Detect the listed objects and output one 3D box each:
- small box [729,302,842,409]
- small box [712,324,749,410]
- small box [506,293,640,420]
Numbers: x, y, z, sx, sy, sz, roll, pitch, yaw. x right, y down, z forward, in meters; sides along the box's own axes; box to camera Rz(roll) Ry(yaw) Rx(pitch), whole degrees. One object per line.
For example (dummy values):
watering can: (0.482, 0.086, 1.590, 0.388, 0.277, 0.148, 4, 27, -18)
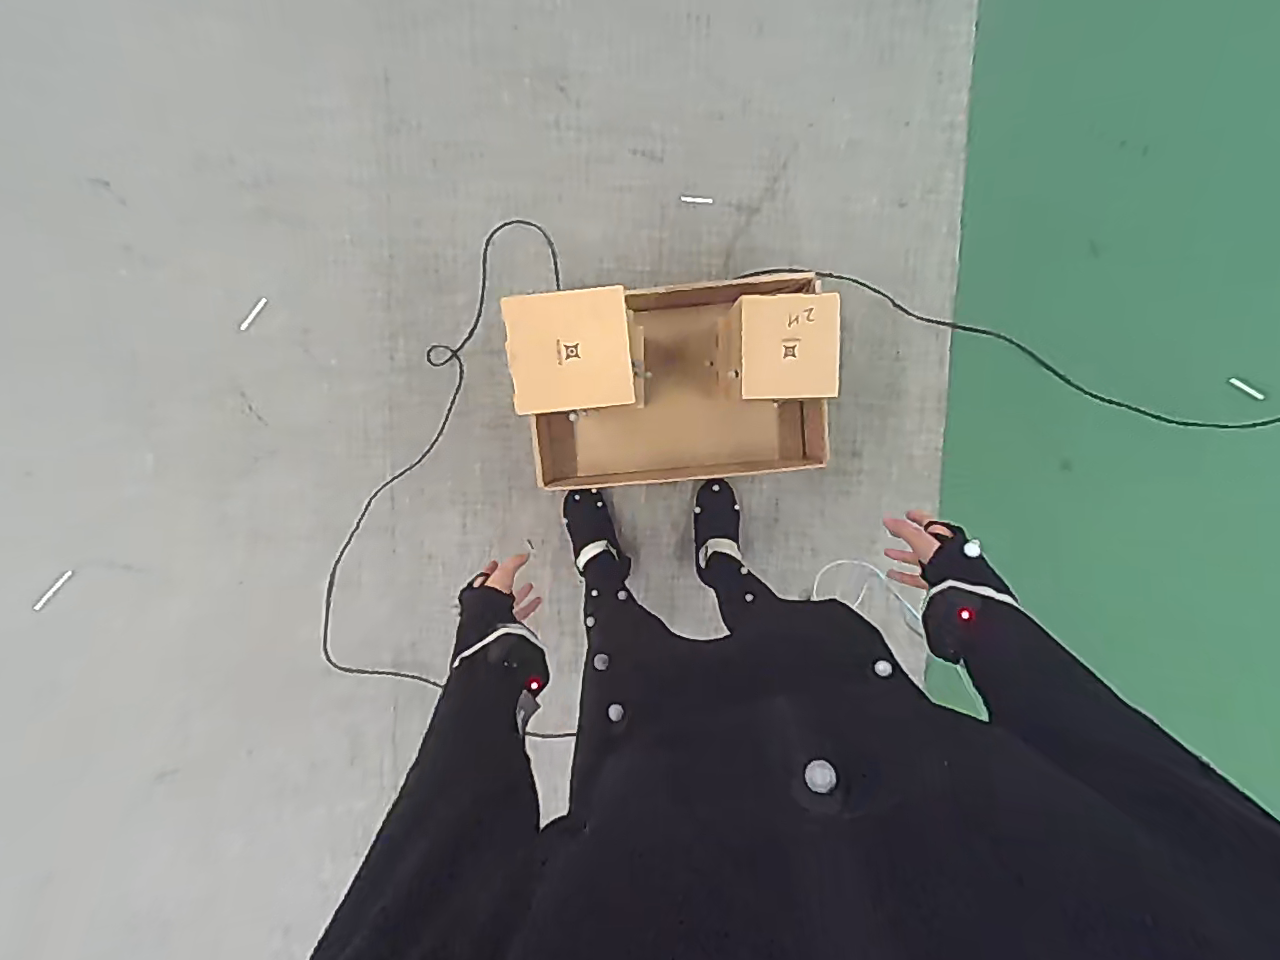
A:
small box: (0.258, -0.219, 0.992, 0.168, 0.176, 0.179, -1, 95, 0)
small box: (0.246, -0.237, 1.157, 0.179, 0.176, 0.168, -1, 96, 2)
small box: (-0.093, -0.185, 0.842, 0.179, 0.176, 0.168, -5, 97, 2)
